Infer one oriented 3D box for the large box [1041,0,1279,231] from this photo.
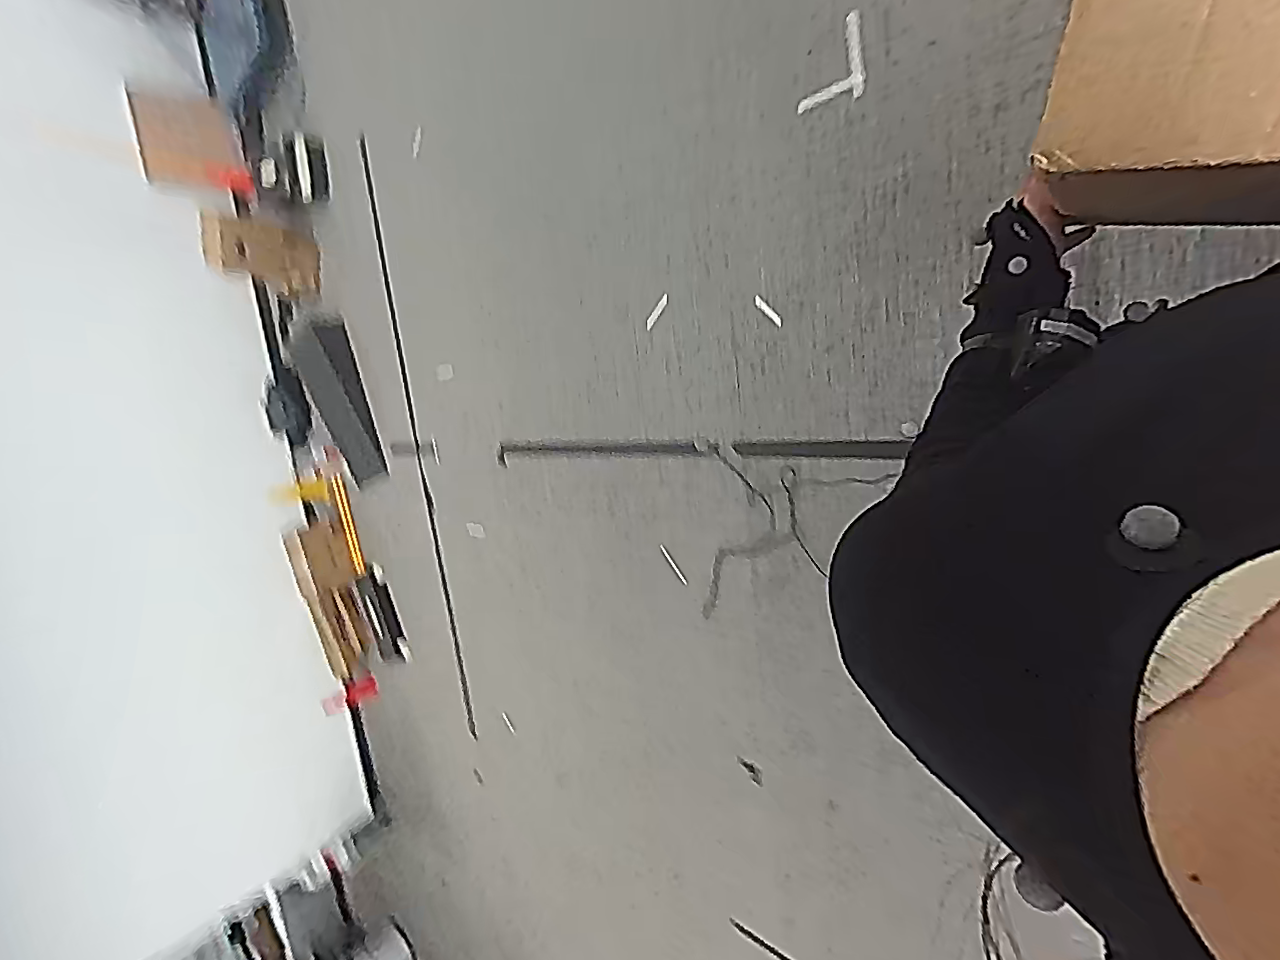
[{"bbox_3d":[0.444,-0.290,0.218,0.408,0.320,0.320,16,116,34],"label":"large box"}]
